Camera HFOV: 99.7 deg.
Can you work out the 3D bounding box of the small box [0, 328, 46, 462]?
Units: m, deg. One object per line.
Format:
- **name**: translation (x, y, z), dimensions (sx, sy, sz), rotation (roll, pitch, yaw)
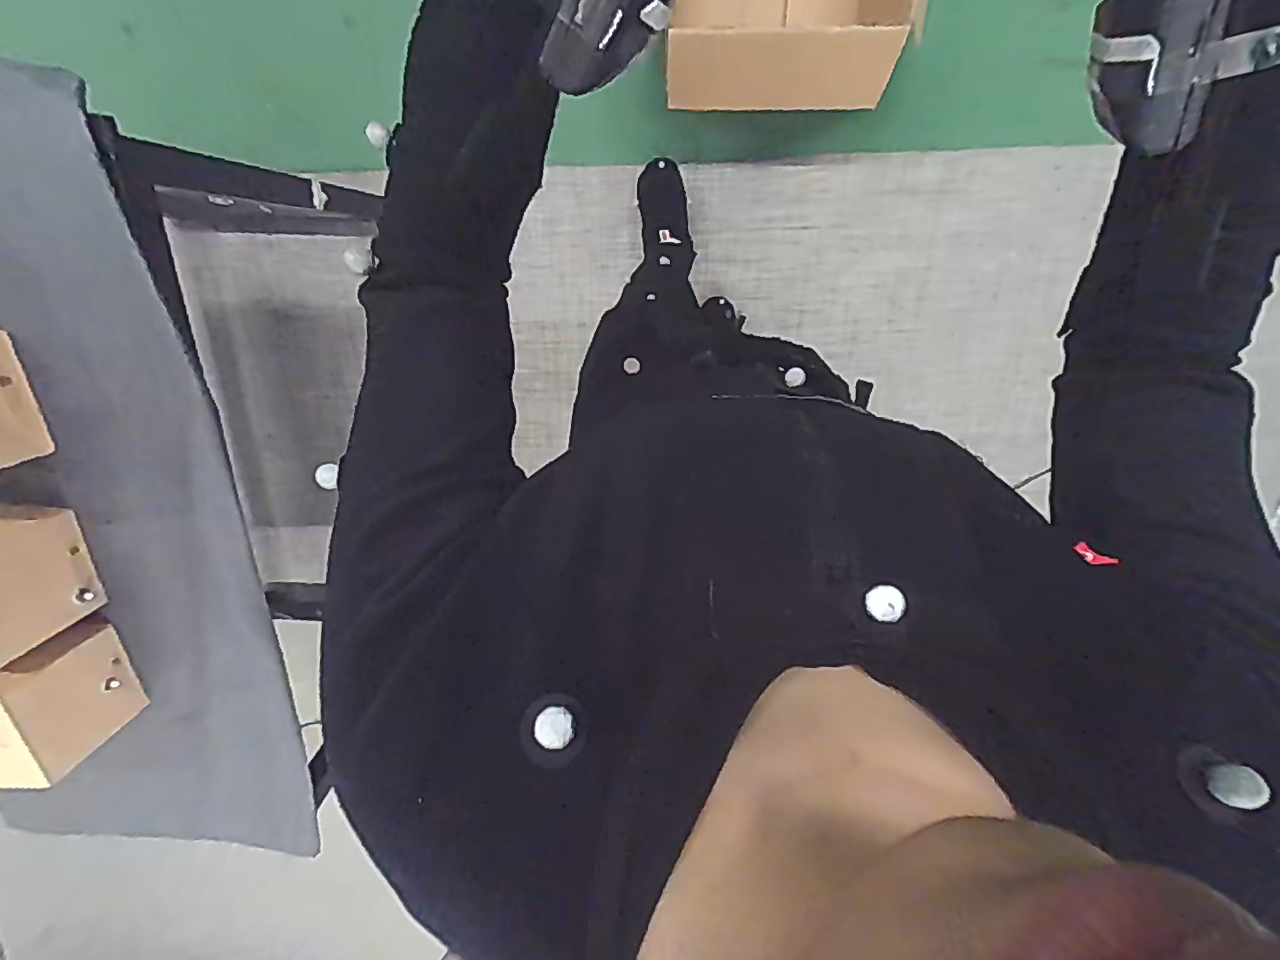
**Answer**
- **small box**: translation (-0.897, -0.096, 0.656), dimensions (0.179, 0.176, 0.168), rotation (2, 112, 3)
